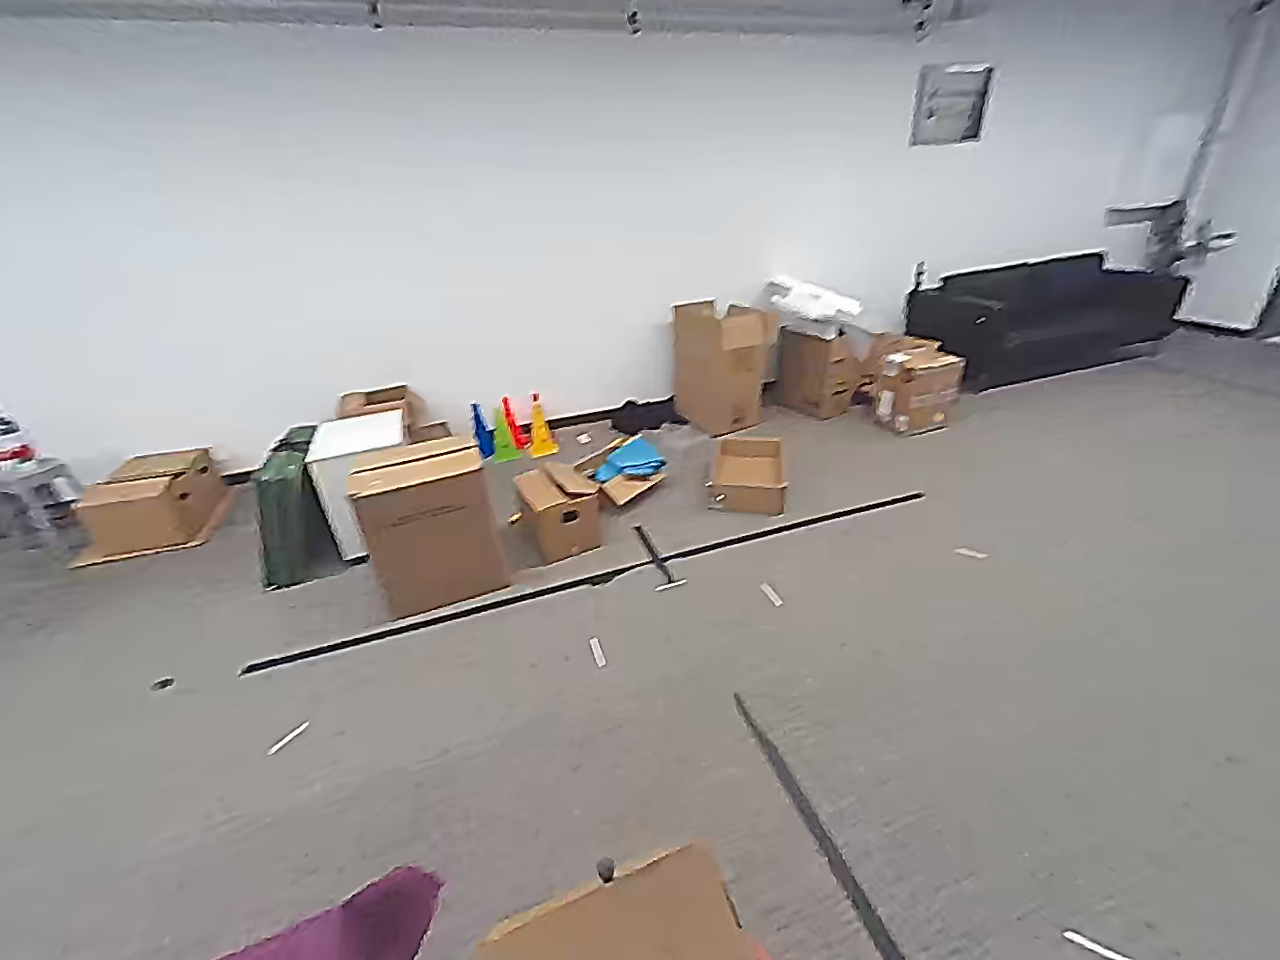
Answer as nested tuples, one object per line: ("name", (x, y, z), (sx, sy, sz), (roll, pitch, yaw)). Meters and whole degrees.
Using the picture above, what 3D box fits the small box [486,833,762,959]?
("small box", (-0.011, 0.393, 0.404), (0.179, 0.176, 0.168), (-11, 56, -21))
